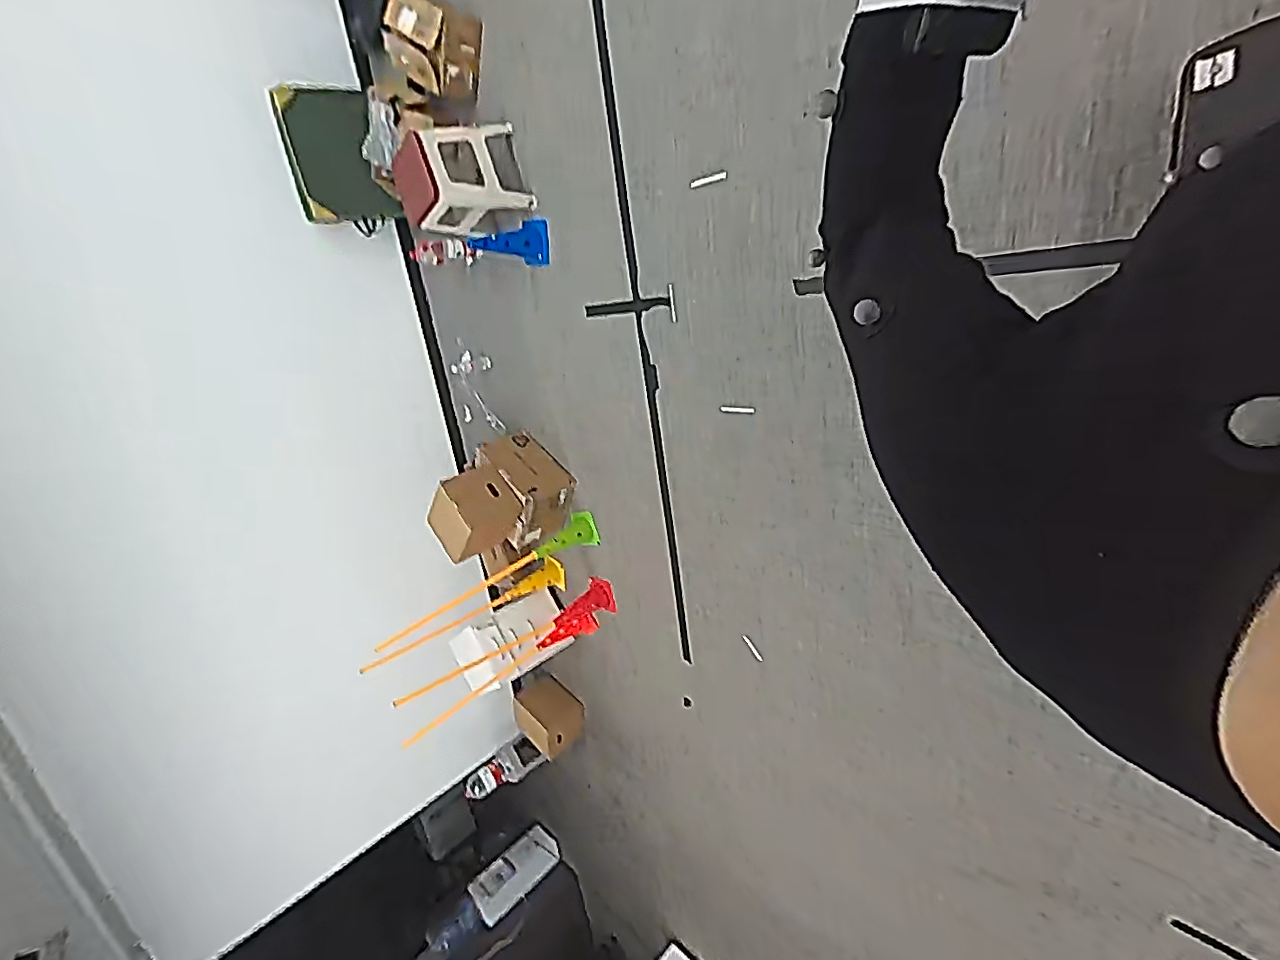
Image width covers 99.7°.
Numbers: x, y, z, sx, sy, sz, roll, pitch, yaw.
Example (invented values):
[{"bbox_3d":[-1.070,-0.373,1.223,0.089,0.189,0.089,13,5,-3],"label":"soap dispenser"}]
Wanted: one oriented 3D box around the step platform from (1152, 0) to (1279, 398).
[{"bbox_3d":[1.152,-0.493,0.978,0.286,0.204,0.684,7,112,45],"label":"step platform"}]
